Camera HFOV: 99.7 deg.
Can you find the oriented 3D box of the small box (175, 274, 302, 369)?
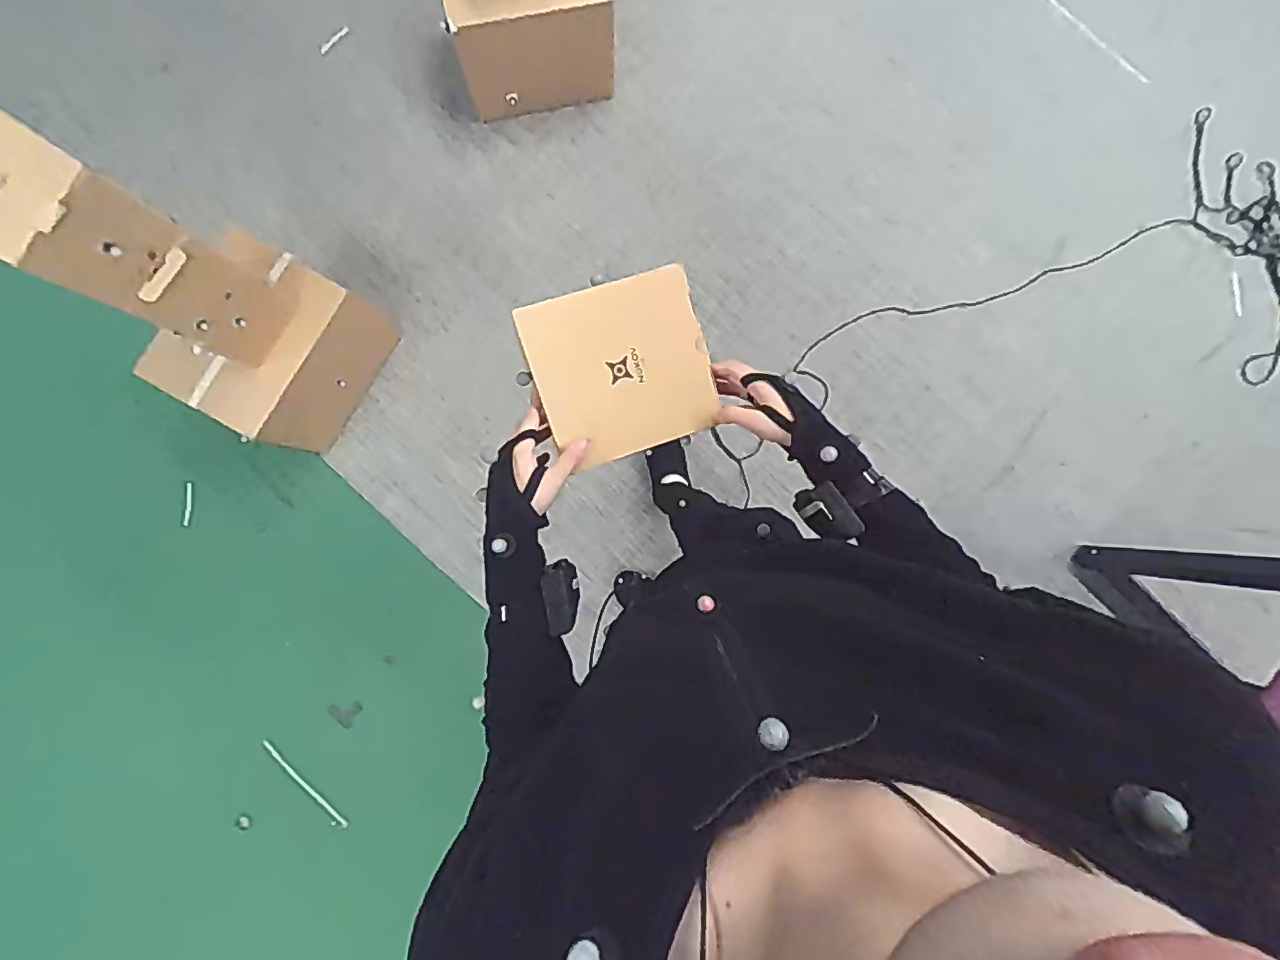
[{"bbox_3d":[-0.862,-0.358,1.134,0.168,0.176,0.179,33,85,0],"label":"small box"}]

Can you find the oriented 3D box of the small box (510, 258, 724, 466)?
[{"bbox_3d":[-0.033,-0.122,0.602,0.179,0.176,0.168,-19,101,-10],"label":"small box"}]

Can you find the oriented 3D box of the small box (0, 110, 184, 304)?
[{"bbox_3d":[-0.854,-0.389,0.807,0.179,0.176,0.168,34,85,-1],"label":"small box"}]

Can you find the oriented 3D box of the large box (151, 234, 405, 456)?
[{"bbox_3d":[-0.881,-0.317,1.376,0.320,0.320,0.408,29,87,2],"label":"large box"}]

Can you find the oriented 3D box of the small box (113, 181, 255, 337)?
[{"bbox_3d":[-0.855,-0.380,0.971,0.179,0.176,0.168,35,86,0],"label":"small box"}]
